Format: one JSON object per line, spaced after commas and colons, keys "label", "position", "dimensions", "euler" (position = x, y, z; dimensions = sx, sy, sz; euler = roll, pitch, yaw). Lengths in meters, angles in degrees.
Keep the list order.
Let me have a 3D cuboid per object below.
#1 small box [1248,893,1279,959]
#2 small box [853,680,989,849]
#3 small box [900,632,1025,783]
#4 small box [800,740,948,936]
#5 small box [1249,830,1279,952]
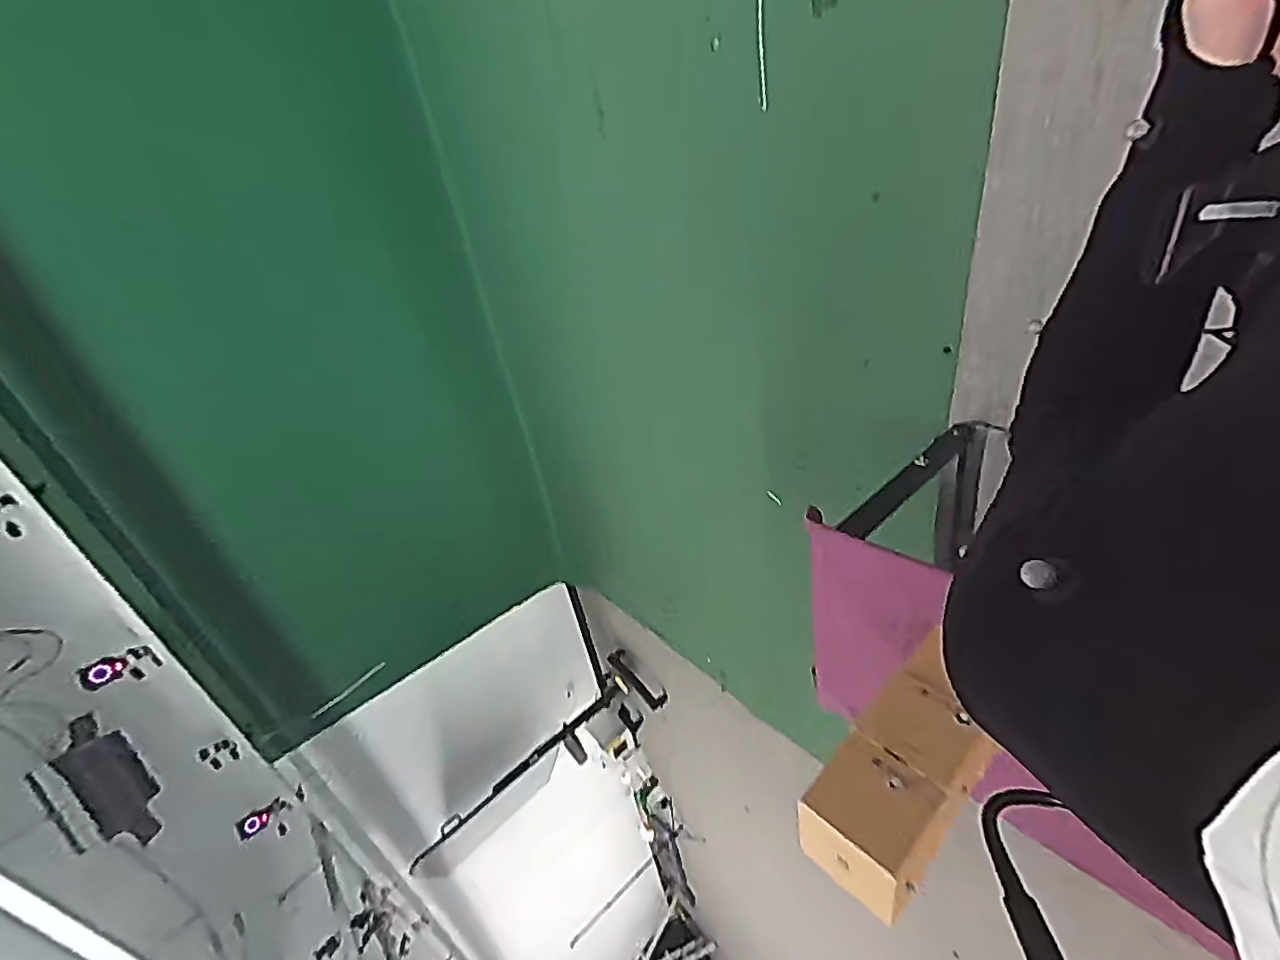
{"label": "small box", "position": [0.817, 0.626, 0.612], "dimensions": [0.168, 0.176, 0.179], "euler": [19, 131, 49]}
{"label": "small box", "position": [0.502, 0.501, 0.975], "dimensions": [0.168, 0.176, 0.179], "euler": [23, 137, 45]}
{"label": "small box", "position": [0.627, 0.433, 1.060], "dimensions": [0.168, 0.176, 0.179], "euler": [20, 134, 47]}
{"label": "small box", "position": [0.385, 0.582, 0.895], "dimensions": [0.168, 0.176, 0.179], "euler": [24, 136, 44]}
{"label": "small box", "position": [0.945, 0.569, 0.702], "dimensions": [0.168, 0.176, 0.179], "euler": [17, 130, 49]}
